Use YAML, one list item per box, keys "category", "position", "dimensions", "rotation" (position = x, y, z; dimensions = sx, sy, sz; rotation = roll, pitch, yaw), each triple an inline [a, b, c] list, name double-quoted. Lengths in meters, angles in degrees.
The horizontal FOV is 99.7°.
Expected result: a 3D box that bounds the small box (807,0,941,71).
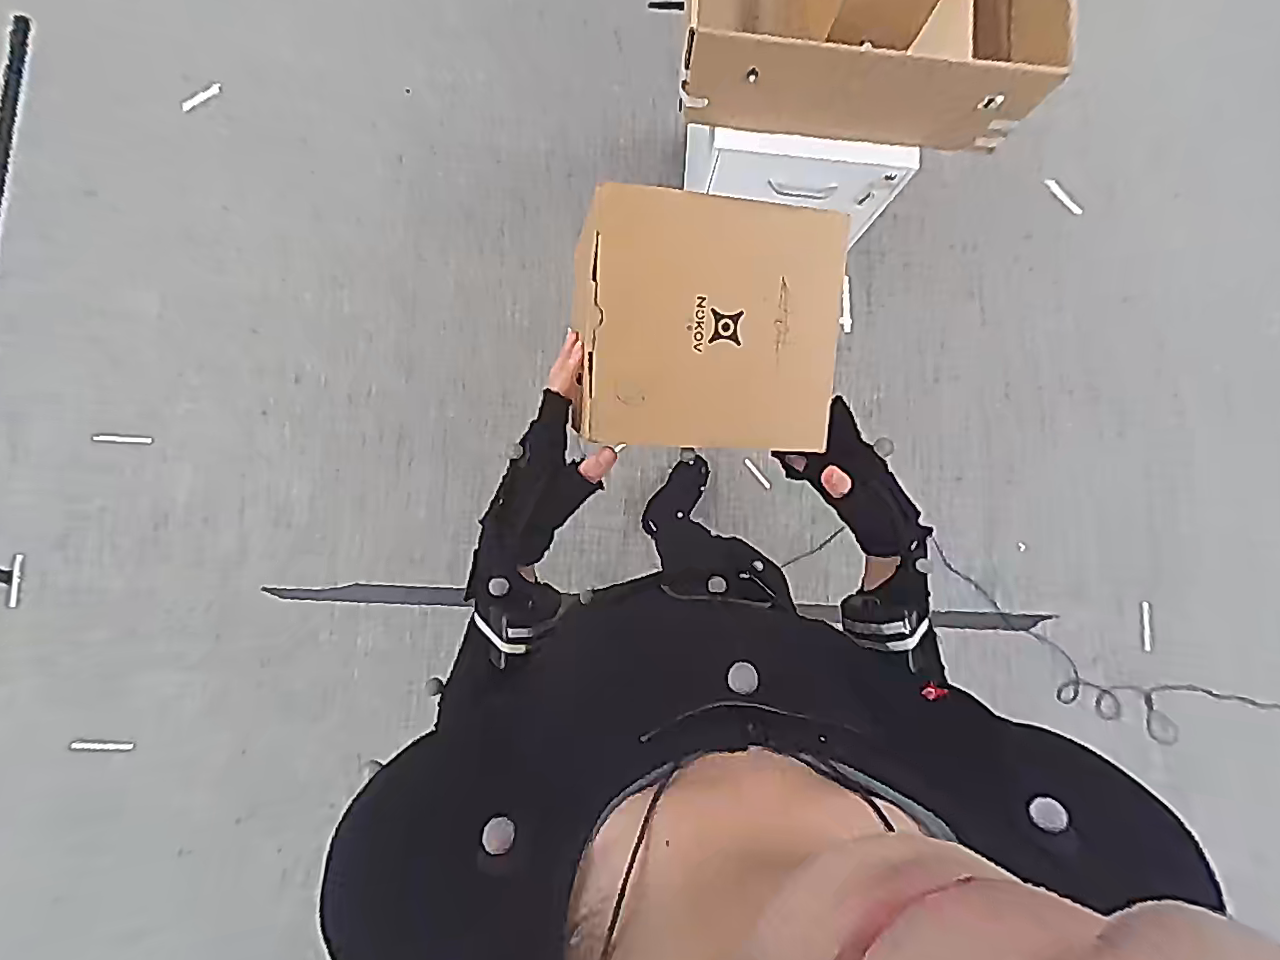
- category: "small box"
  position: [0.393, -0.843, 0.913]
  dimensions: [0.168, 0.176, 0.179]
  rotation: [-4, 86, -3]
